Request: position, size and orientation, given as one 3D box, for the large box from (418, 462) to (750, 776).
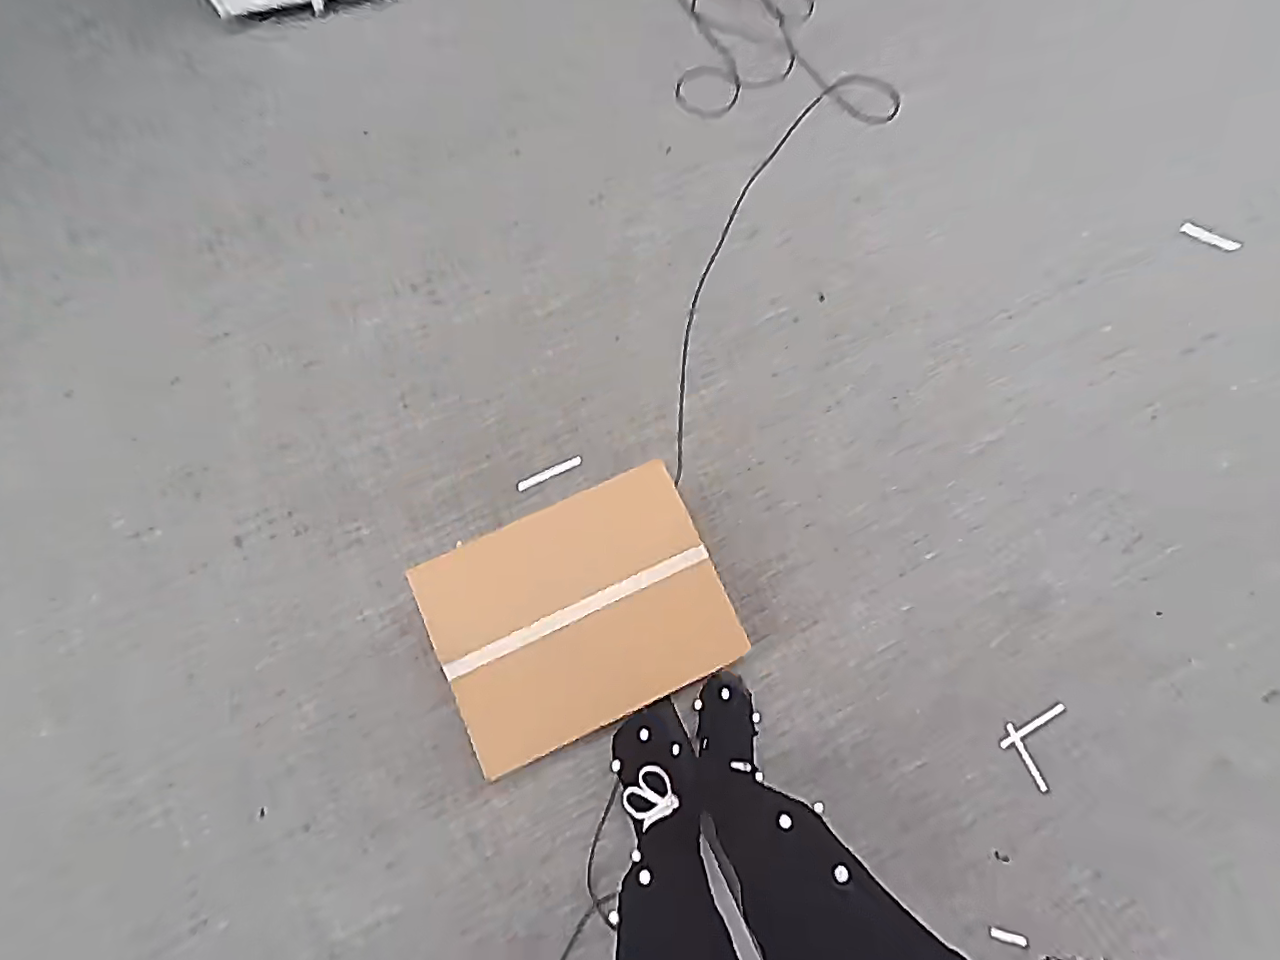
[{"bbox_3d":[-0.086,0.215,0.923,0.408,0.320,0.320,-24,83,-6],"label":"large box"}]
